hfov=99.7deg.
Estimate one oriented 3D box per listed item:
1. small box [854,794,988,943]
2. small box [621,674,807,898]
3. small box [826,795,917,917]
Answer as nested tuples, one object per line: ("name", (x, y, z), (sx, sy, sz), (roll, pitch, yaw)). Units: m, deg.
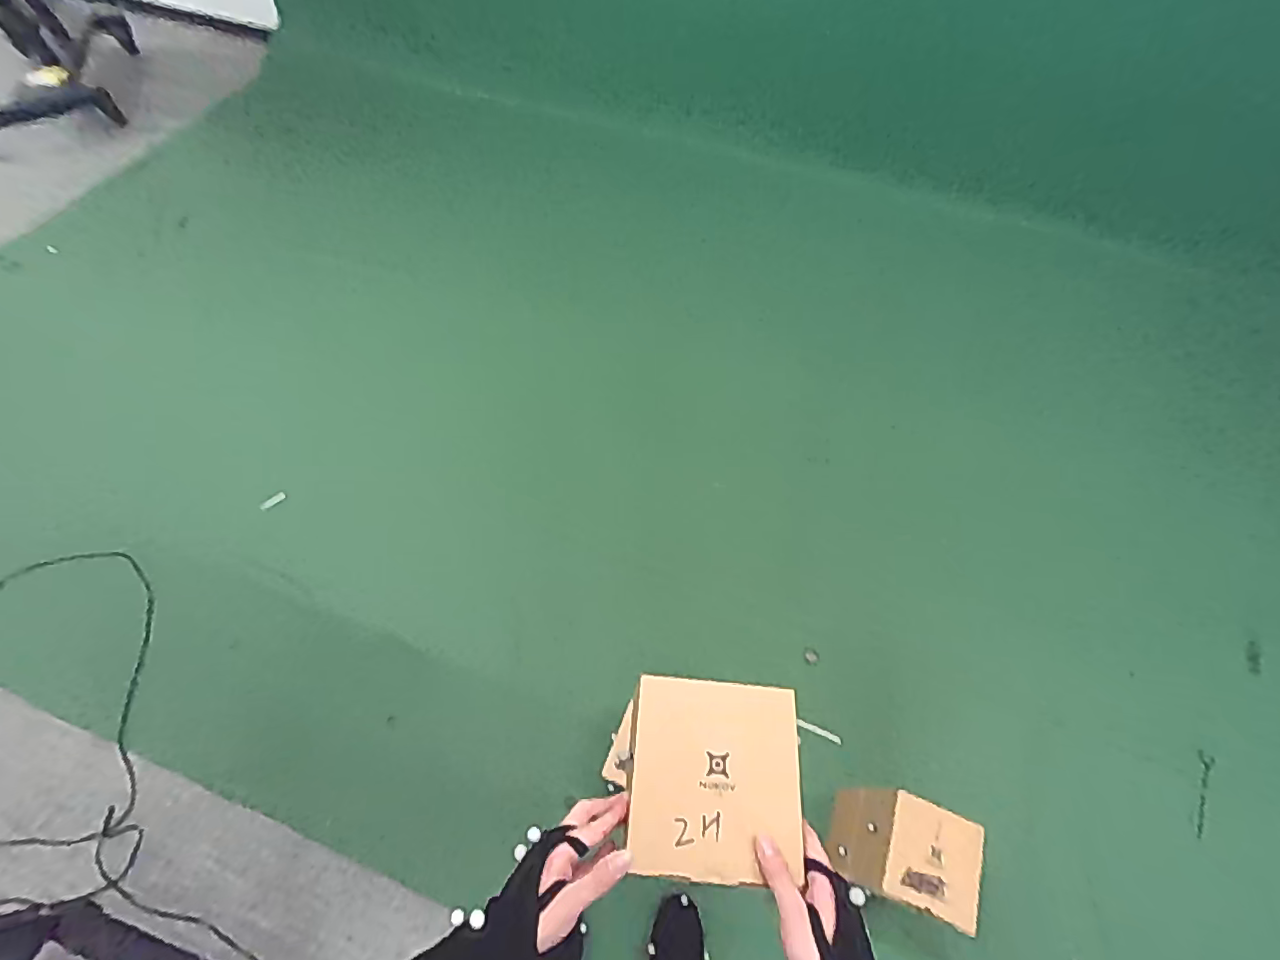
("small box", (0.537, 0.739, 1.052), (0.168, 0.176, 0.179), (22, 62, 9))
("small box", (0.070, 0.325, 0.588), (0.168, 0.176, 0.179), (6, 60, 0))
("small box", (0.531, 0.820, 1.194), (0.168, 0.176, 0.179), (21, 62, 9))
